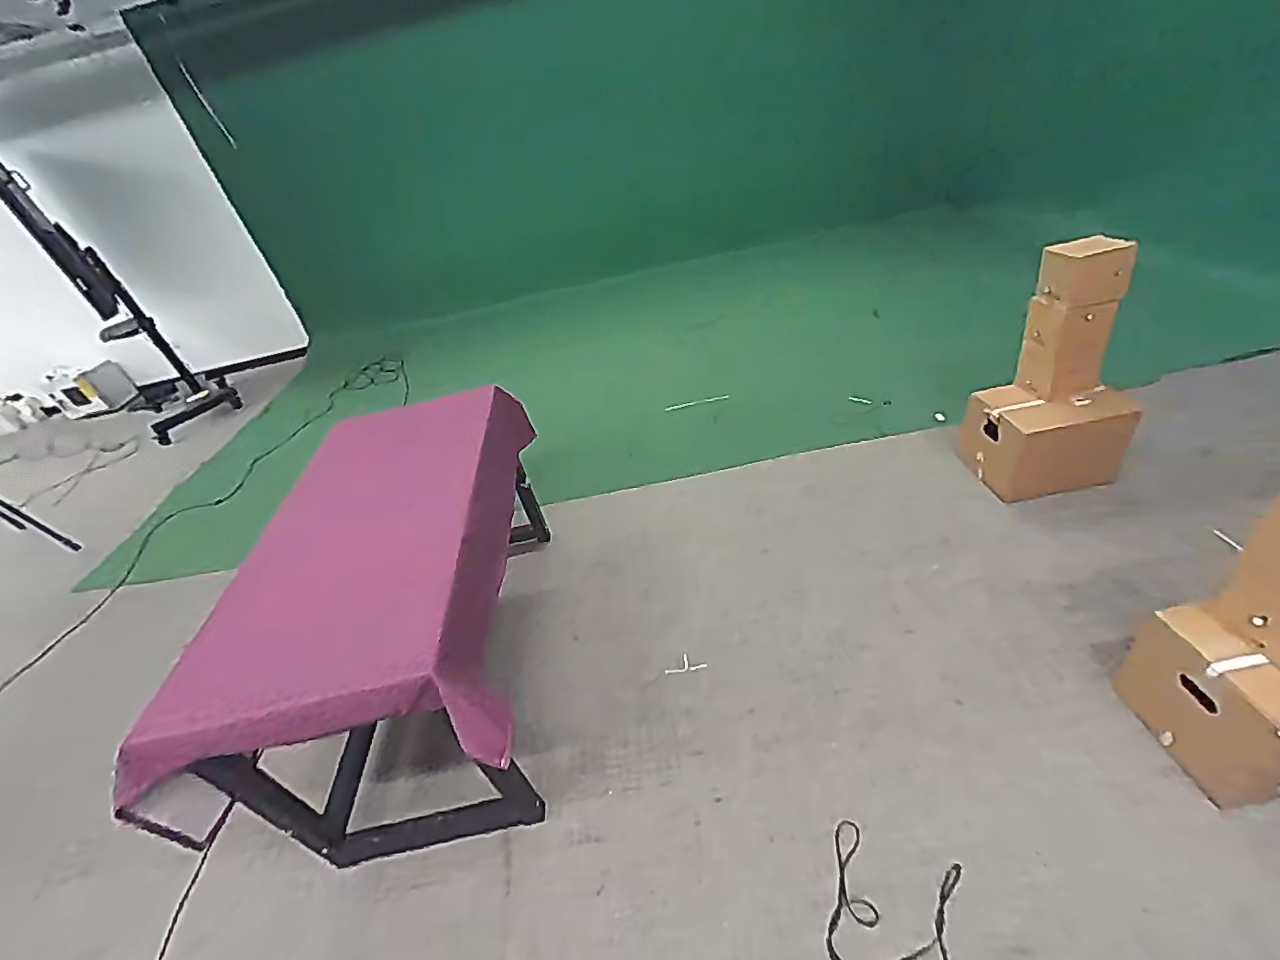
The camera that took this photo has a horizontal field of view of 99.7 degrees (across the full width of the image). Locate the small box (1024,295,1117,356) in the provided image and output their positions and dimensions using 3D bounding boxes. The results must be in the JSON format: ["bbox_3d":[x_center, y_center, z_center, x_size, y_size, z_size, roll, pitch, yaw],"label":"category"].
[{"bbox_3d":[1.461,-0.544,1.847,0.179,0.176,0.168,-13,33,3],"label":"small box"}]

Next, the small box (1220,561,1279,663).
[{"bbox_3d":[1.356,0.258,1.101,0.179,0.176,0.168,-15,35,0],"label":"small box"}]

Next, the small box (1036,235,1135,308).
[{"bbox_3d":[1.434,-0.676,1.754,0.179,0.176,0.168,-13,32,5],"label":"small box"}]

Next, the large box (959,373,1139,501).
[{"bbox_3d":[1.494,-0.163,2.019,0.408,0.320,0.320,-12,36,2],"label":"large box"}]

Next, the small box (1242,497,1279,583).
[{"bbox_3d":[1.318,0.127,1.008,0.168,0.176,0.179,-14,35,0],"label":"small box"}]
